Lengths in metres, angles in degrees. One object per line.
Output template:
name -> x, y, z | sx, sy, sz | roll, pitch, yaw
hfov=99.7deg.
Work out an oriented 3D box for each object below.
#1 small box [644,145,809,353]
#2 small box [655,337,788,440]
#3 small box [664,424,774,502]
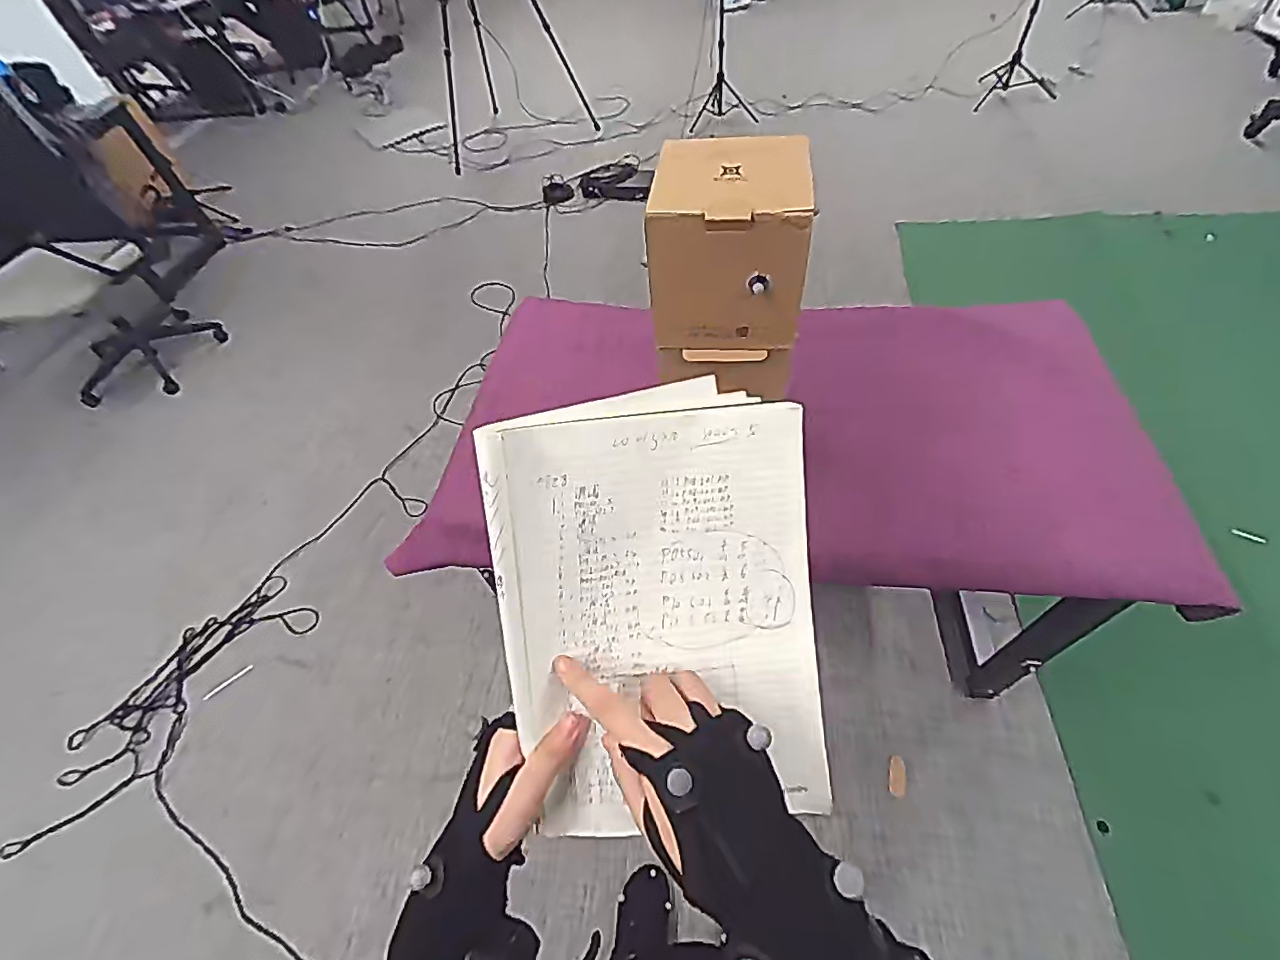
small box -> 0.104, -0.269, 0.643 | 0.168, 0.176, 0.179 | 4, 53, 9
small box -> 0.119, -0.173, 0.775 | 0.168, 0.176, 0.179 | 3, 52, 9
small box -> 0.135, -0.078, 0.909 | 0.168, 0.176, 0.179 | 3, 54, 9
